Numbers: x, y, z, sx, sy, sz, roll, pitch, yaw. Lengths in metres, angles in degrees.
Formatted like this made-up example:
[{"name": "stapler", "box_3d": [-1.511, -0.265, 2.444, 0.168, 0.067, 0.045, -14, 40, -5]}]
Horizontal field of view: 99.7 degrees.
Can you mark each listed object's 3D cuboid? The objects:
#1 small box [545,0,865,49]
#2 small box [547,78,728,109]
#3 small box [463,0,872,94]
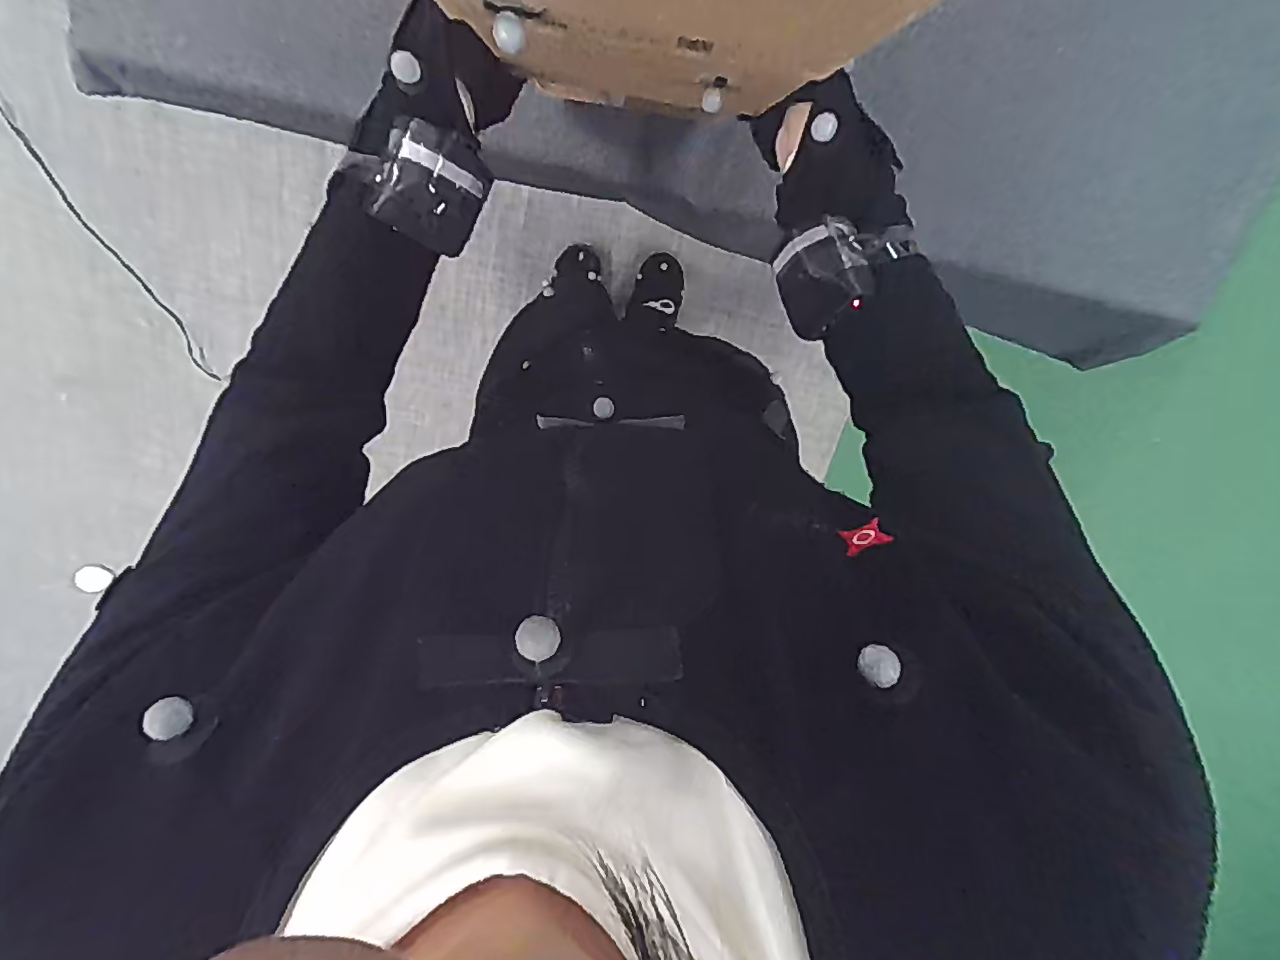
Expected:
[{"name": "small box", "box_3d": [0.014, -0.236, 0.125, 0.168, 0.176, 0.179, 5, 115, -6]}, {"name": "small box", "box_3d": [0.006, -0.400, 0.410, 0.179, 0.176, 0.168, 3, 115, -4]}, {"name": "small box", "box_3d": [0.011, -0.301, 0.258, 0.179, 0.176, 0.168, 2, 117, -4]}]
